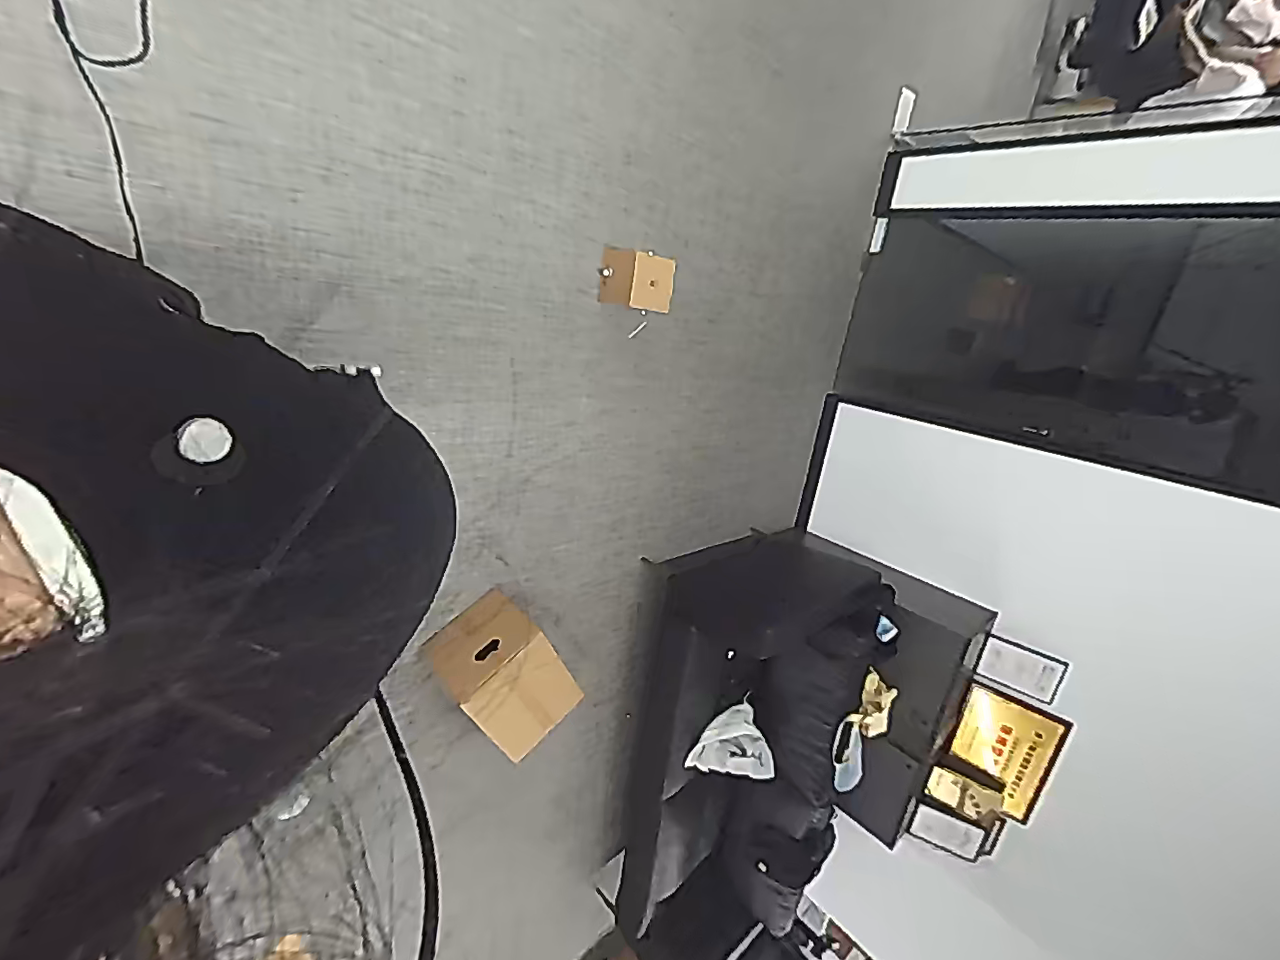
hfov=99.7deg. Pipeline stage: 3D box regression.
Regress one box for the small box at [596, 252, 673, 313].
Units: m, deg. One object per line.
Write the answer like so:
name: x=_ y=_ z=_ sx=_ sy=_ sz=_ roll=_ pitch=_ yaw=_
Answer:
small box: x=-0.018 y=-0.653 z=1.783 sx=0.179 sy=0.176 sz=0.168 roll=-8 pitch=113 yaw=-41
